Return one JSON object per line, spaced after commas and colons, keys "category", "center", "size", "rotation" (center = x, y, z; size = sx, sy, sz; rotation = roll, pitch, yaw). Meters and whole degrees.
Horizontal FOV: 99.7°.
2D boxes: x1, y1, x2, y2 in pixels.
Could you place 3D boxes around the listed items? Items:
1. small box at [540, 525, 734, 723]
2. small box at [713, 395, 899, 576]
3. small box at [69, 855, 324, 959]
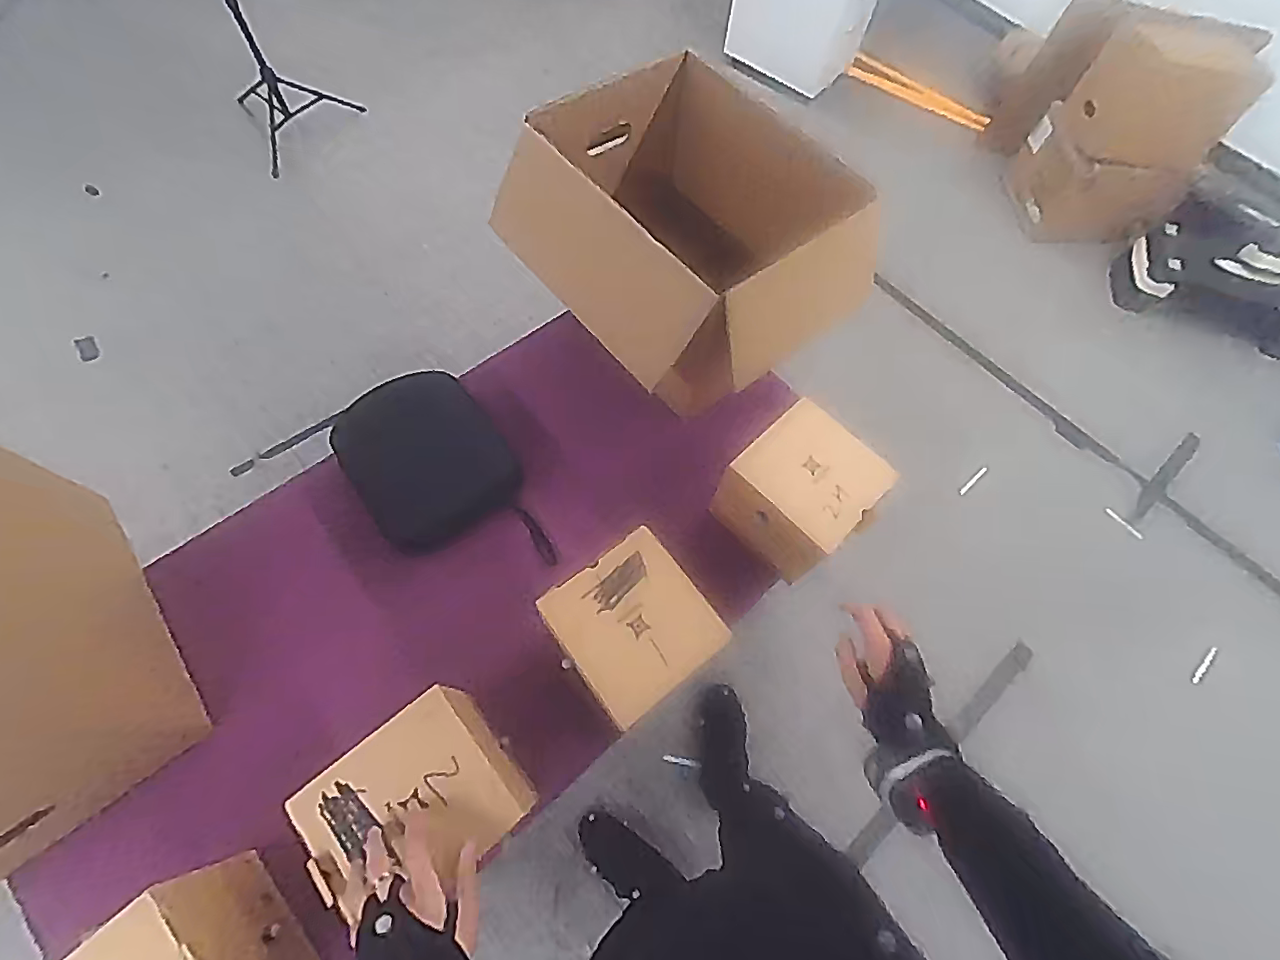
{"category": "small box", "center": [-0.011, 0.193, 0.705], "size": [0.168, 0.176, 0.179], "rotation": [-35, 73, -17]}
{"category": "small box", "center": [0.230, 0.016, 0.799], "size": [0.168, 0.176, 0.179], "rotation": [-41, 75, -18]}
{"category": "small box", "center": [-0.459, 0.517, 0.529], "size": [0.179, 0.176, 0.168], "rotation": [-41, 75, -20]}
